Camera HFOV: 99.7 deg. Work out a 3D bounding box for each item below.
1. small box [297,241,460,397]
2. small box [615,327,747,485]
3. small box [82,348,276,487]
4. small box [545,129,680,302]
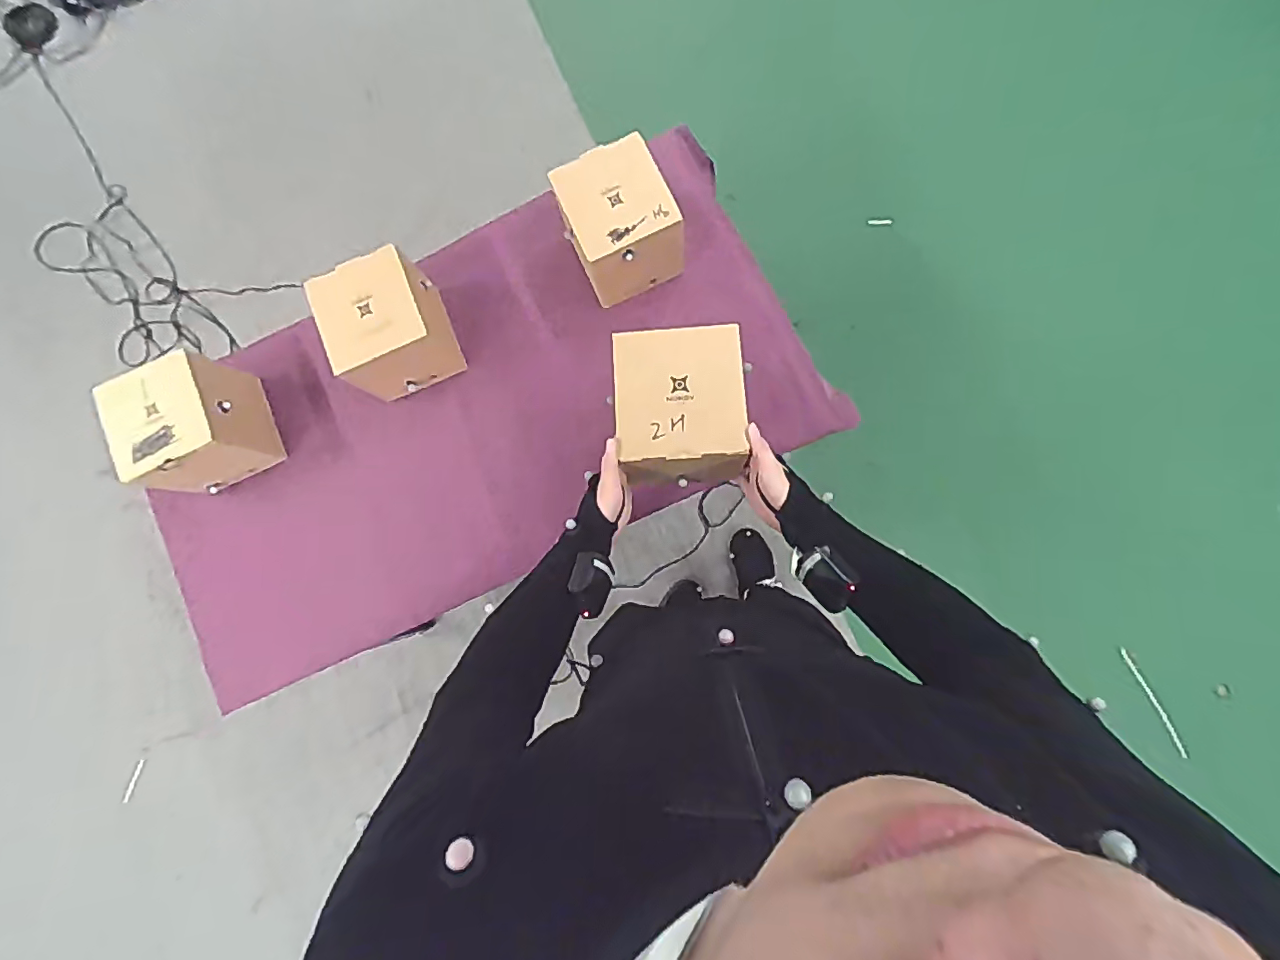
[{"bbox_3d":[-0.440,-0.267,0.936,0.168,0.176,0.179,-23,84,1],"label":"small box"},{"bbox_3d":[0.053,-0.095,0.764,0.168,0.176,0.179,-3,79,3],"label":"small box"},{"bbox_3d":[-0.777,-0.095,0.931,0.168,0.176,0.179,-25,83,0],"label":"small box"},{"bbox_3d":[-0.041,-0.443,0.932,0.168,0.176,0.179,-25,82,1],"label":"small box"}]
